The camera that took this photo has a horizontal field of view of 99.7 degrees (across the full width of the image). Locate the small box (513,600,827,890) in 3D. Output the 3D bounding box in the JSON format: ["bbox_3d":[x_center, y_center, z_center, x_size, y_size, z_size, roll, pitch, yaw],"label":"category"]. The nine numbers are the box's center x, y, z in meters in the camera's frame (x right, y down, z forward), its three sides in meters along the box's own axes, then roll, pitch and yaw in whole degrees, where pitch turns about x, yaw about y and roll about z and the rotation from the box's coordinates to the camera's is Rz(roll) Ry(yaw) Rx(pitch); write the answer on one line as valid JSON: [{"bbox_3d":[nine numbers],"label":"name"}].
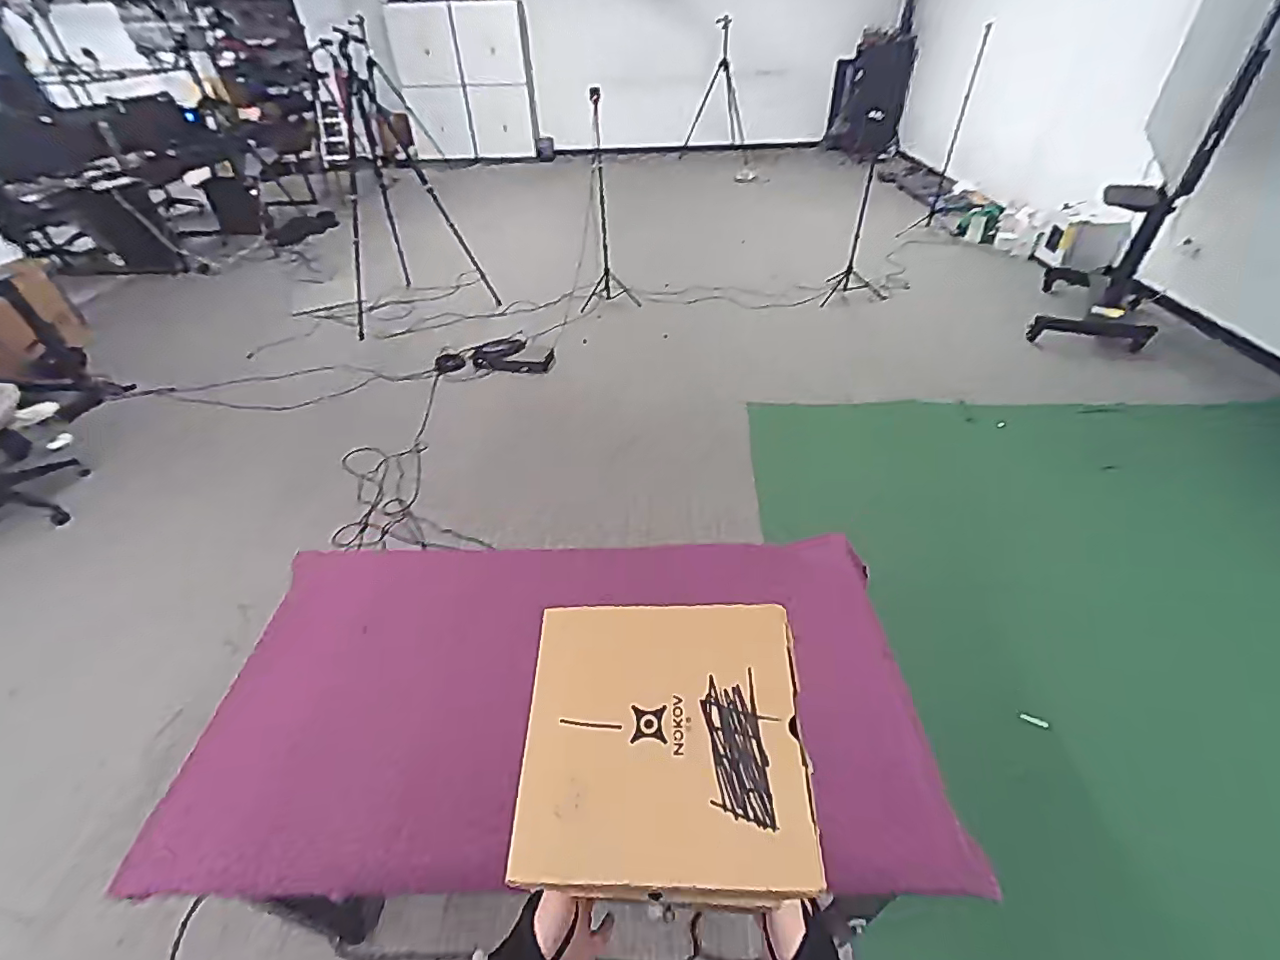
[{"bbox_3d":[0.024,0.202,0.407,0.179,0.176,0.168,-2,52,5],"label":"small box"}]
